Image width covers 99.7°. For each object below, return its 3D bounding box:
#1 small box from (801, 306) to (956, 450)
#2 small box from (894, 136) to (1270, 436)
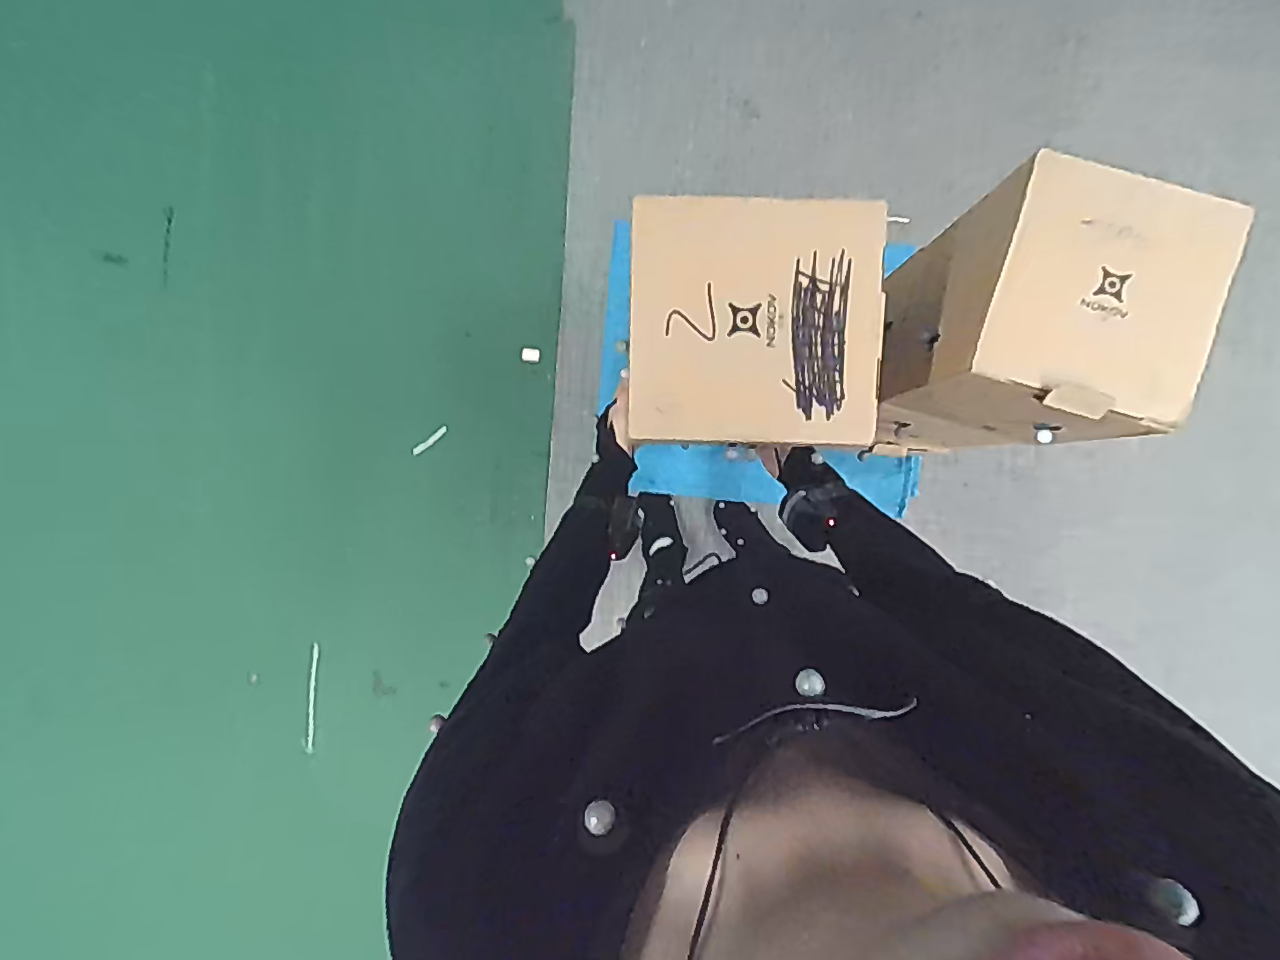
[{"bbox_3d":[0.345,-0.140,0.797,0.168,0.176,0.179,7,93,1],"label":"small box"},{"bbox_3d":[0.351,-0.144,0.471,0.168,0.176,0.179,17,91,1],"label":"small box"}]
